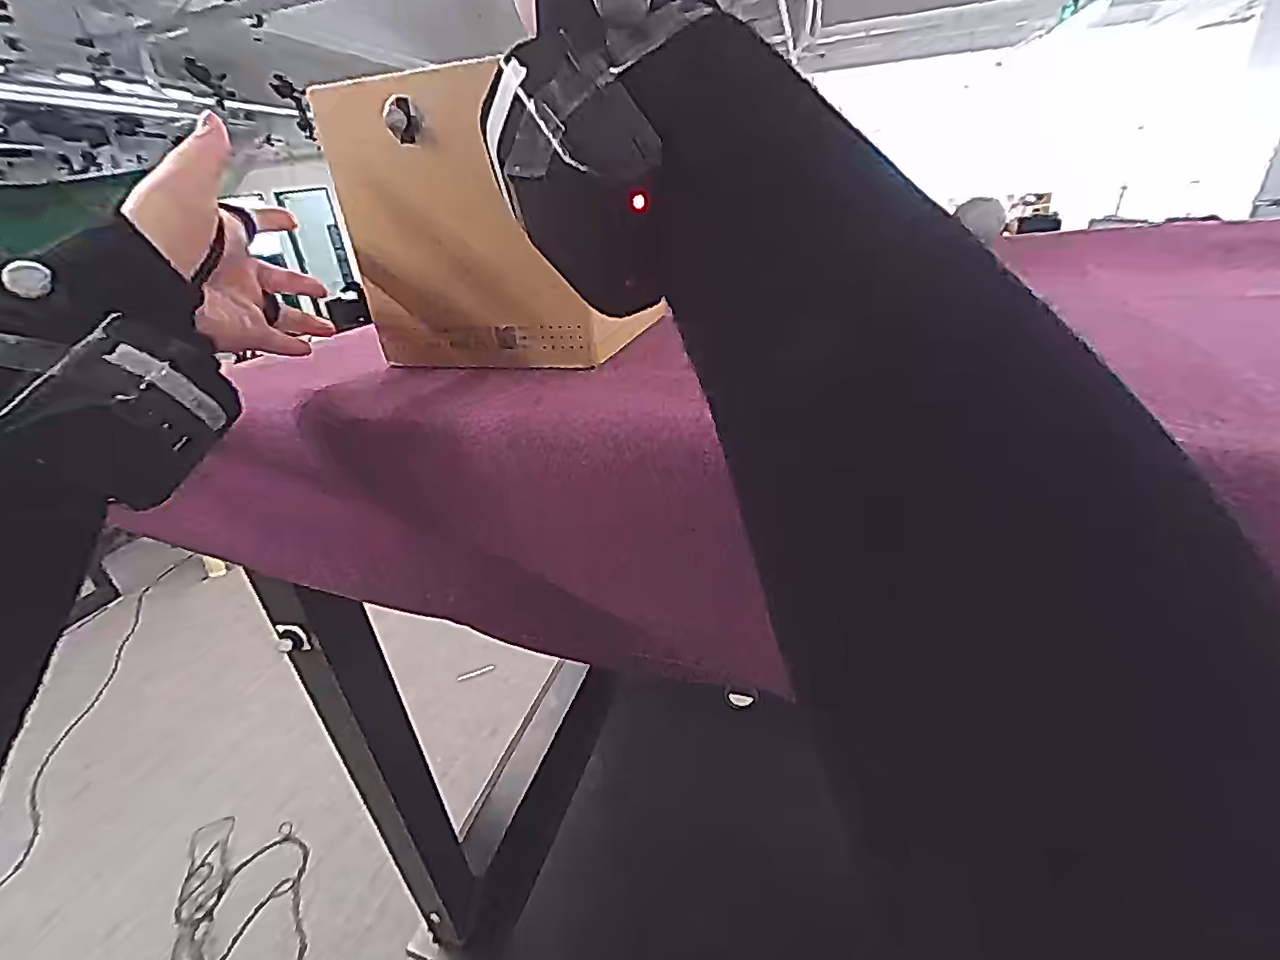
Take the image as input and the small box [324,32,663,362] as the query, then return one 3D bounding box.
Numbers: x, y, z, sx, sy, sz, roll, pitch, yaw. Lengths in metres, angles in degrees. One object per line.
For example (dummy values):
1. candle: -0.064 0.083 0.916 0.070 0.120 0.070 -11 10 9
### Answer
1. small box: -0.081 -0.192 0.399 0.168 0.176 0.179 4 28 17
